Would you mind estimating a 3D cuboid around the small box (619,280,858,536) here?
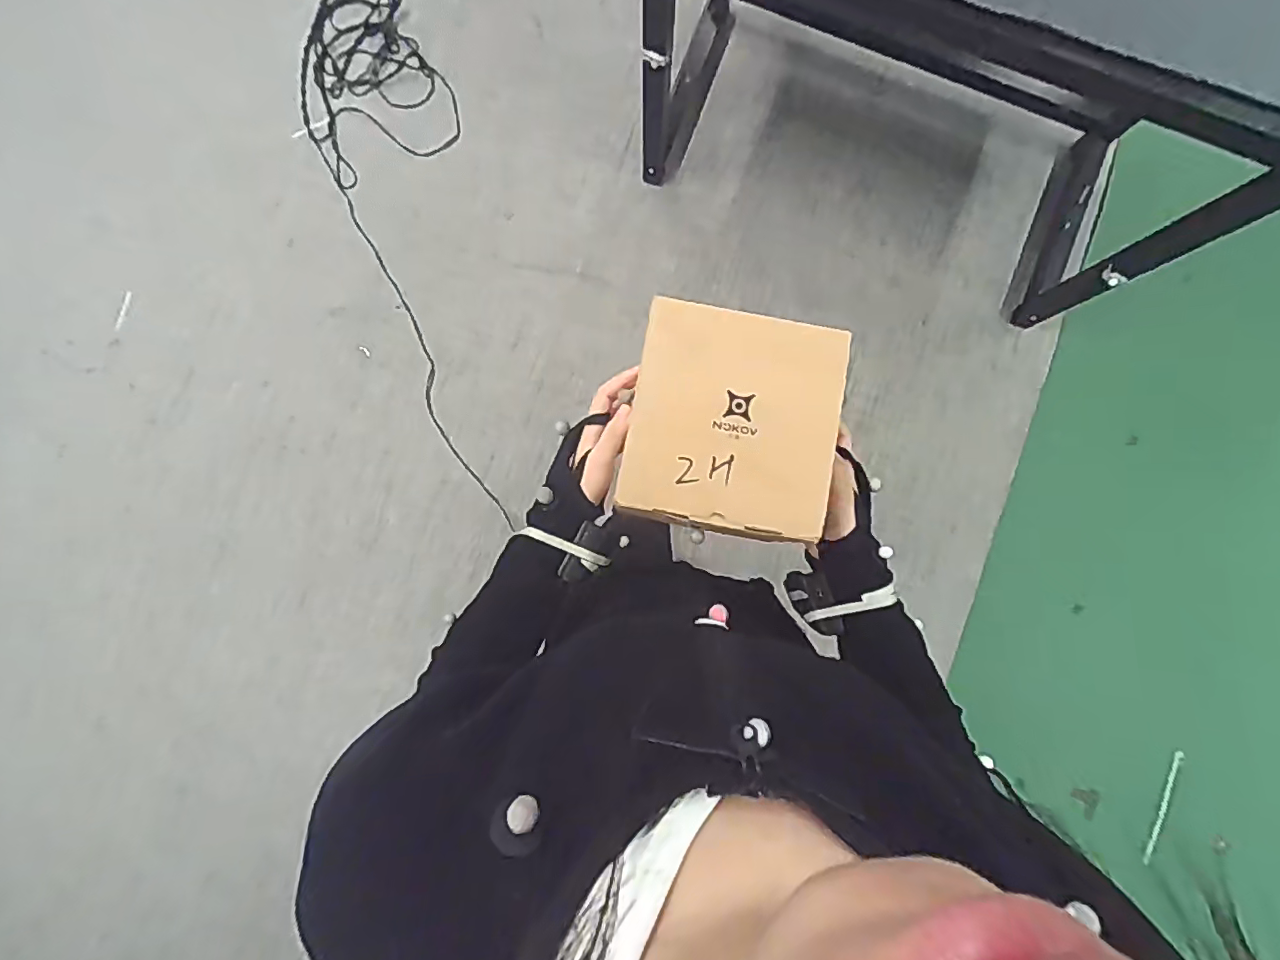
[{"bbox_3d":[0.076,-0.050,0.494,0.168,0.176,0.179,10,83,1],"label":"small box"}]
